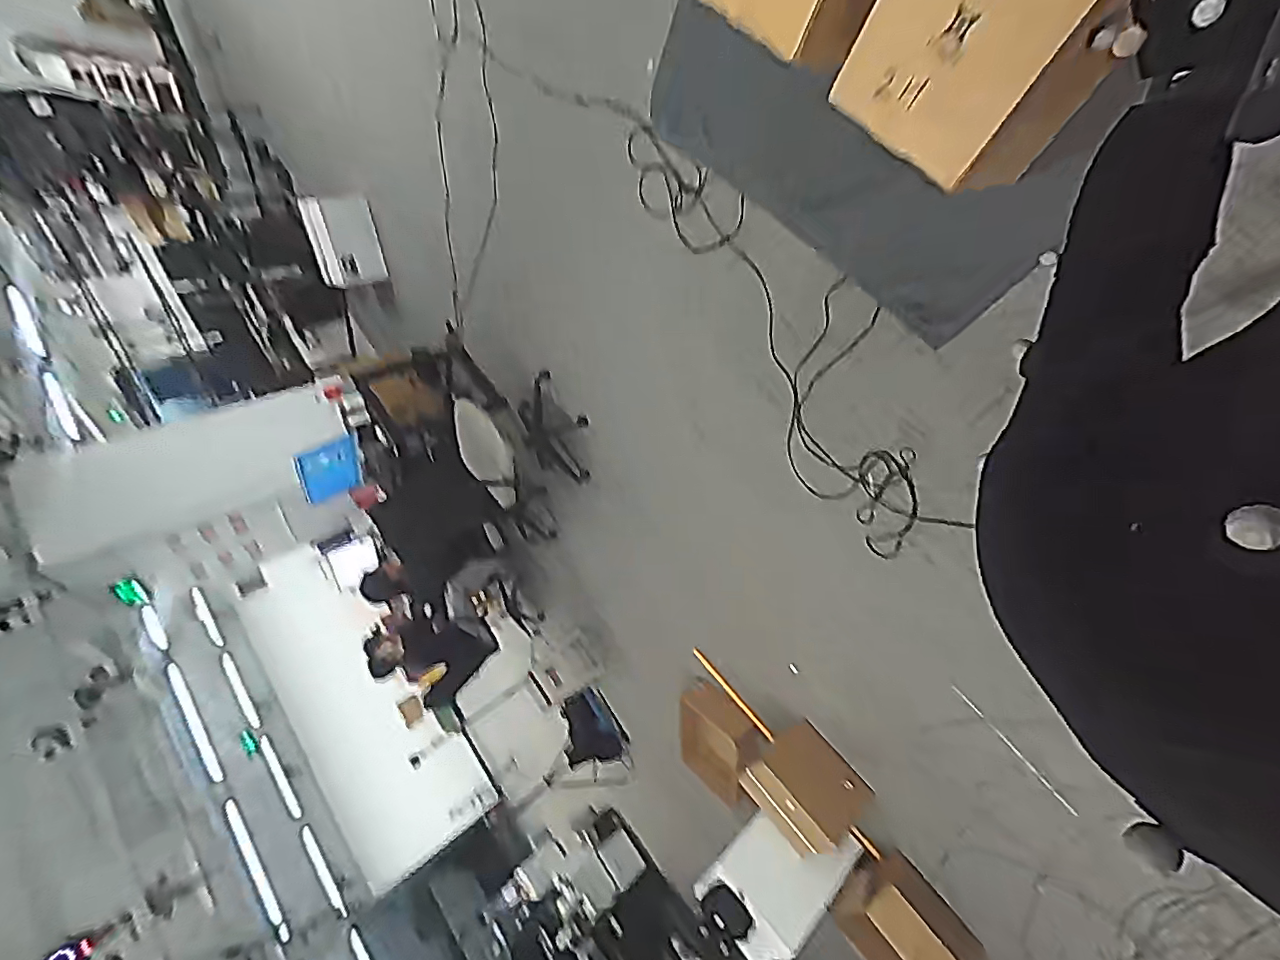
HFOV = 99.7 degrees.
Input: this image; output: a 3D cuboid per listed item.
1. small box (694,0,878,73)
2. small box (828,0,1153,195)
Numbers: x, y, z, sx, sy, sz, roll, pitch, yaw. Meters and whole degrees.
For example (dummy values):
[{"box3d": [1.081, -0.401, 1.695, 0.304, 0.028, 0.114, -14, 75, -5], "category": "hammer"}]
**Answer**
[{"box3d": [0.193, -0.570, 0.574, 0.168, 0.176, 0.179, 50, 145, 18], "category": "small box"}, {"box3d": [0.324, -0.402, 0.507, 0.168, 0.176, 0.179, 52, 145, 19], "category": "small box"}]
